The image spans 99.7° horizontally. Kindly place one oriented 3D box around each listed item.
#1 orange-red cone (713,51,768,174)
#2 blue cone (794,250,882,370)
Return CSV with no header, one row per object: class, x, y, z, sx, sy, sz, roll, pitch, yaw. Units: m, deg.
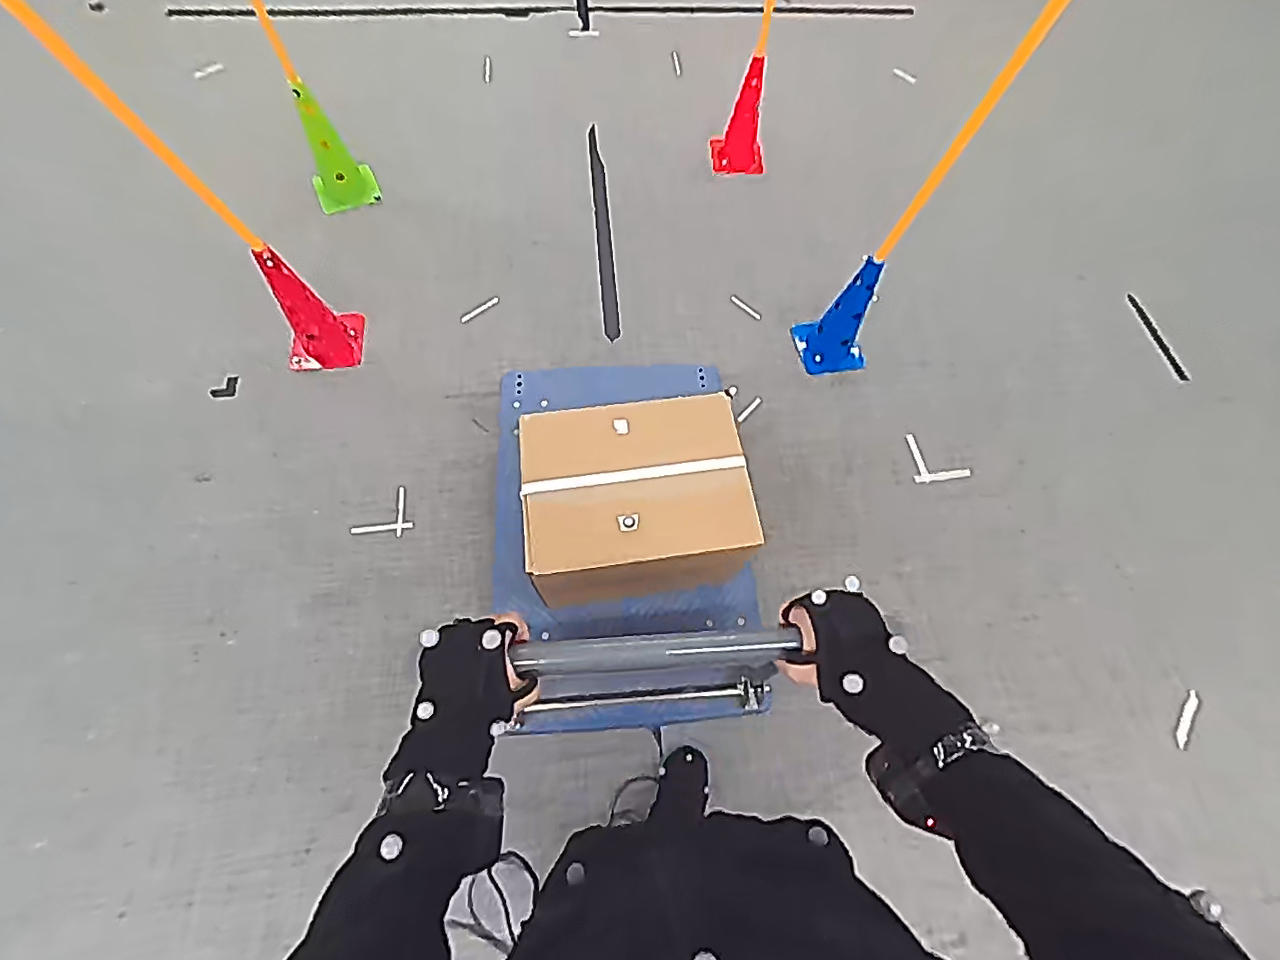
orange-red cone,0.391,-1.318,1.922,0.199,0.360,0.198,2,66,-4
blue cone,0.611,-0.503,1.581,0.193,0.380,0.192,-8,65,-7
